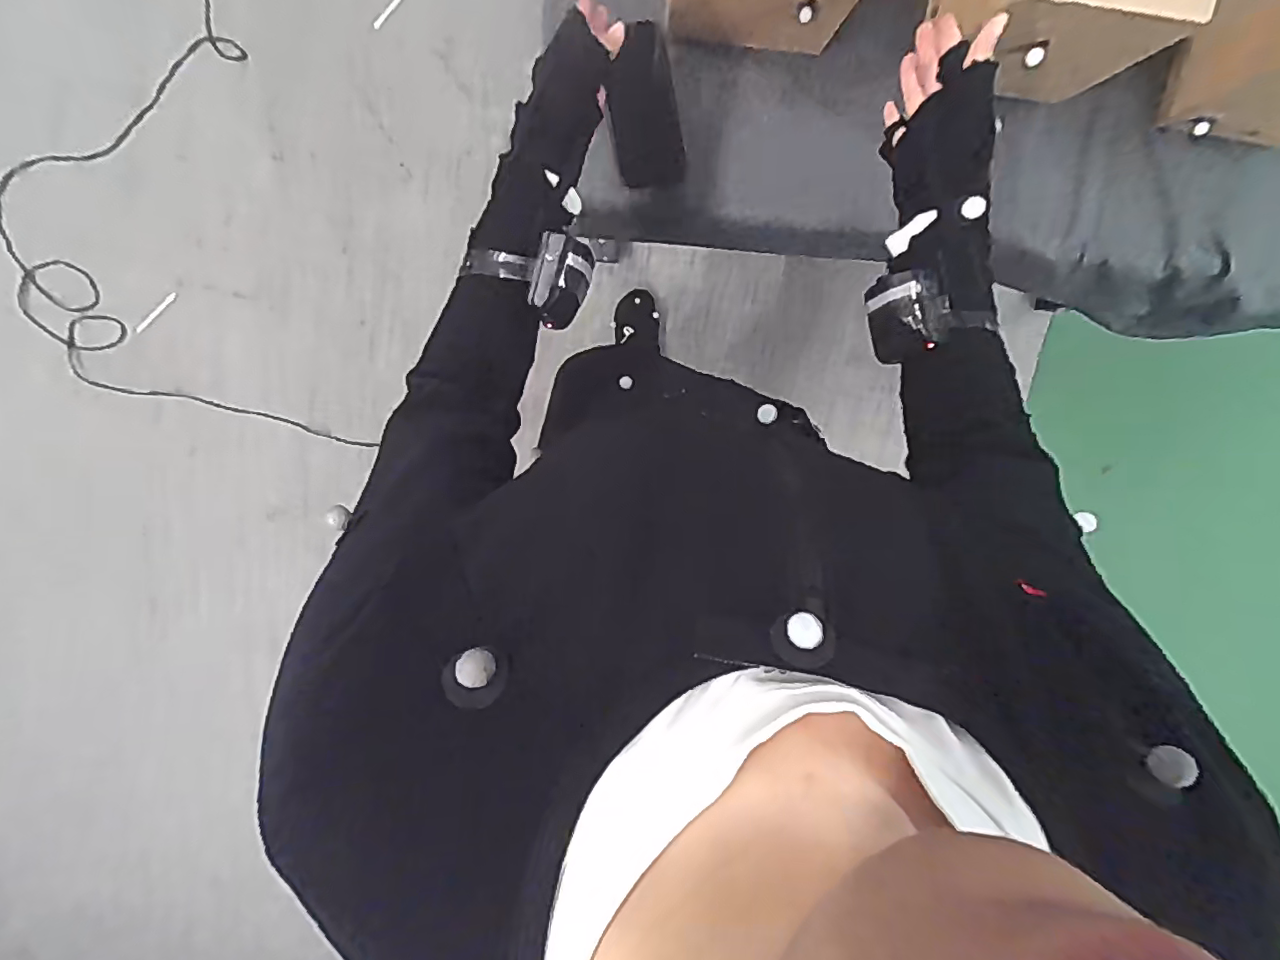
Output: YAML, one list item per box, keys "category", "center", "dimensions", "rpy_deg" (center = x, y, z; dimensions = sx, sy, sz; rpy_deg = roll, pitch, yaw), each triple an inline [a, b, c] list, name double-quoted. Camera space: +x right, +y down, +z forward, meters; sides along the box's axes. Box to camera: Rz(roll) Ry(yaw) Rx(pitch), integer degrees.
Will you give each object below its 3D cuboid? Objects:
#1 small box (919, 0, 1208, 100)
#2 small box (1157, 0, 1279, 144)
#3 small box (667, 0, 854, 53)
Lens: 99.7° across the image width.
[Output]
- category: "small box"
  center: [0.404, -0.498, 0.522]
  dimensions: [0.179, 0.176, 0.168]
  rpy_deg: [5, 105, -3]
- category: "small box"
  center: [0.689, -0.467, 0.541]
  dimensions: [0.168, 0.176, 0.179]
  rpy_deg: [7, 104, -4]
- category: "small box"
  center: [0.124, -0.534, 0.500]
  dimensions: [0.179, 0.176, 0.168]
  rpy_deg: [3, 104, -2]
